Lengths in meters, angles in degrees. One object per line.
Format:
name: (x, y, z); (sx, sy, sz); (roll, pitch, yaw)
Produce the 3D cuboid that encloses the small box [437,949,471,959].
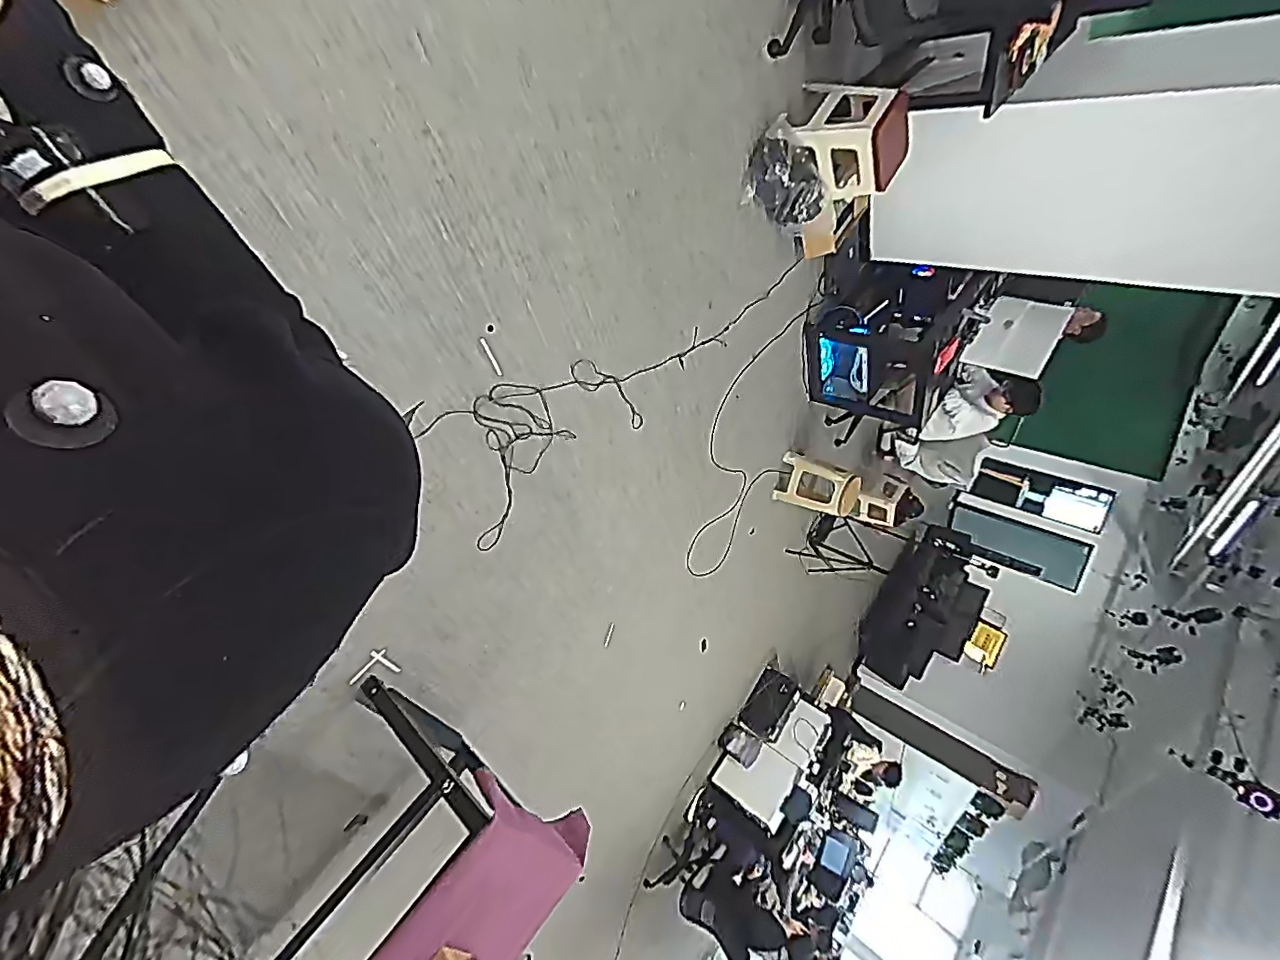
small box: (-0.459, 1.288, 1.292); (0.179, 0.176, 0.168); (-45, 139, -27)
